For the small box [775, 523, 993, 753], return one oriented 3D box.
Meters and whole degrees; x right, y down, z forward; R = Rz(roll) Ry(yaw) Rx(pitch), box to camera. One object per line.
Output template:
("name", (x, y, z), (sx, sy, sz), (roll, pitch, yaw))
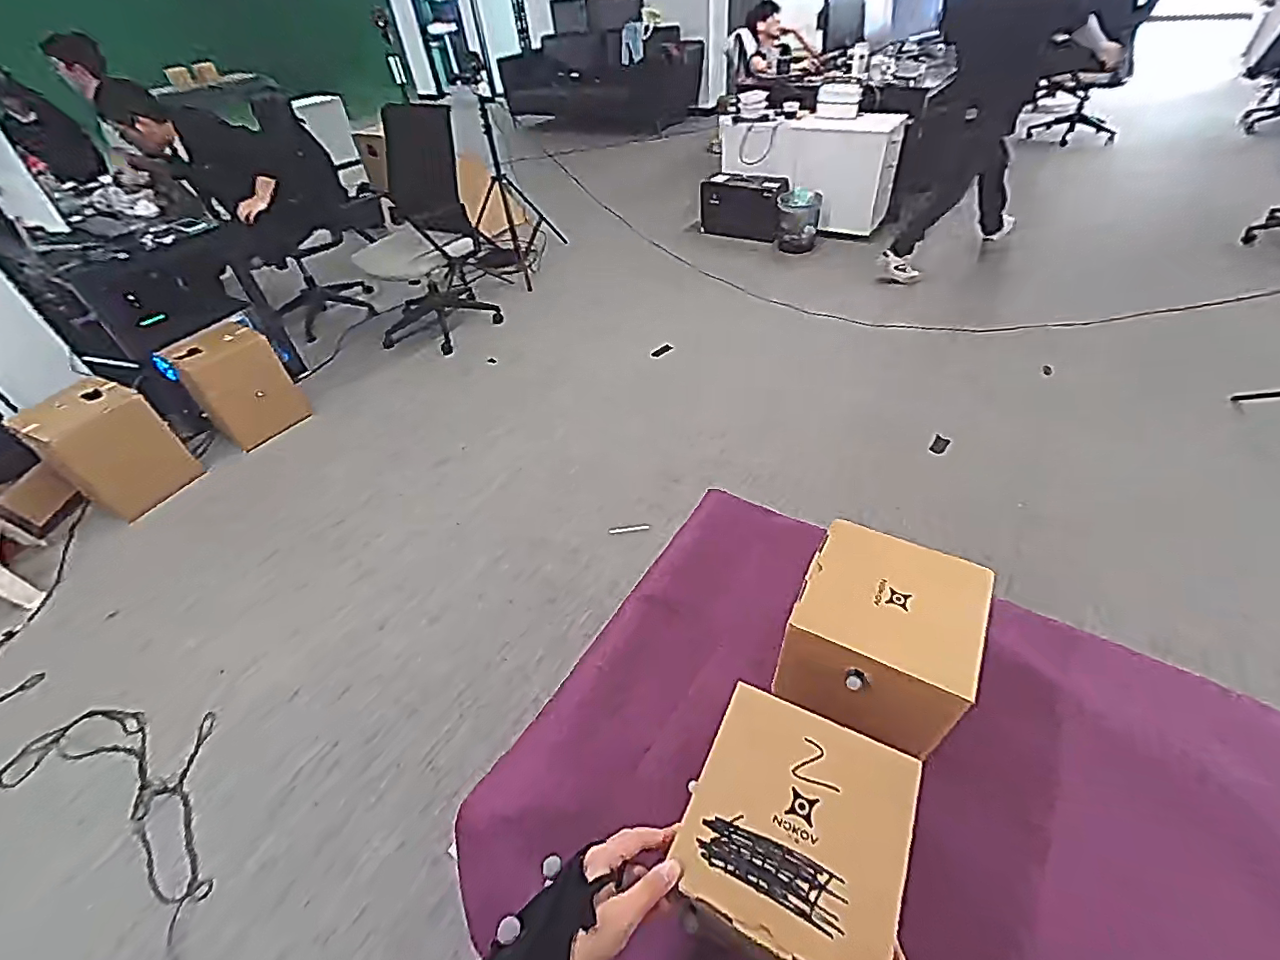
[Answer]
("small box", (0.273, 0.185, 0.628), (0.179, 0.176, 0.168), (20, 49, 24))
